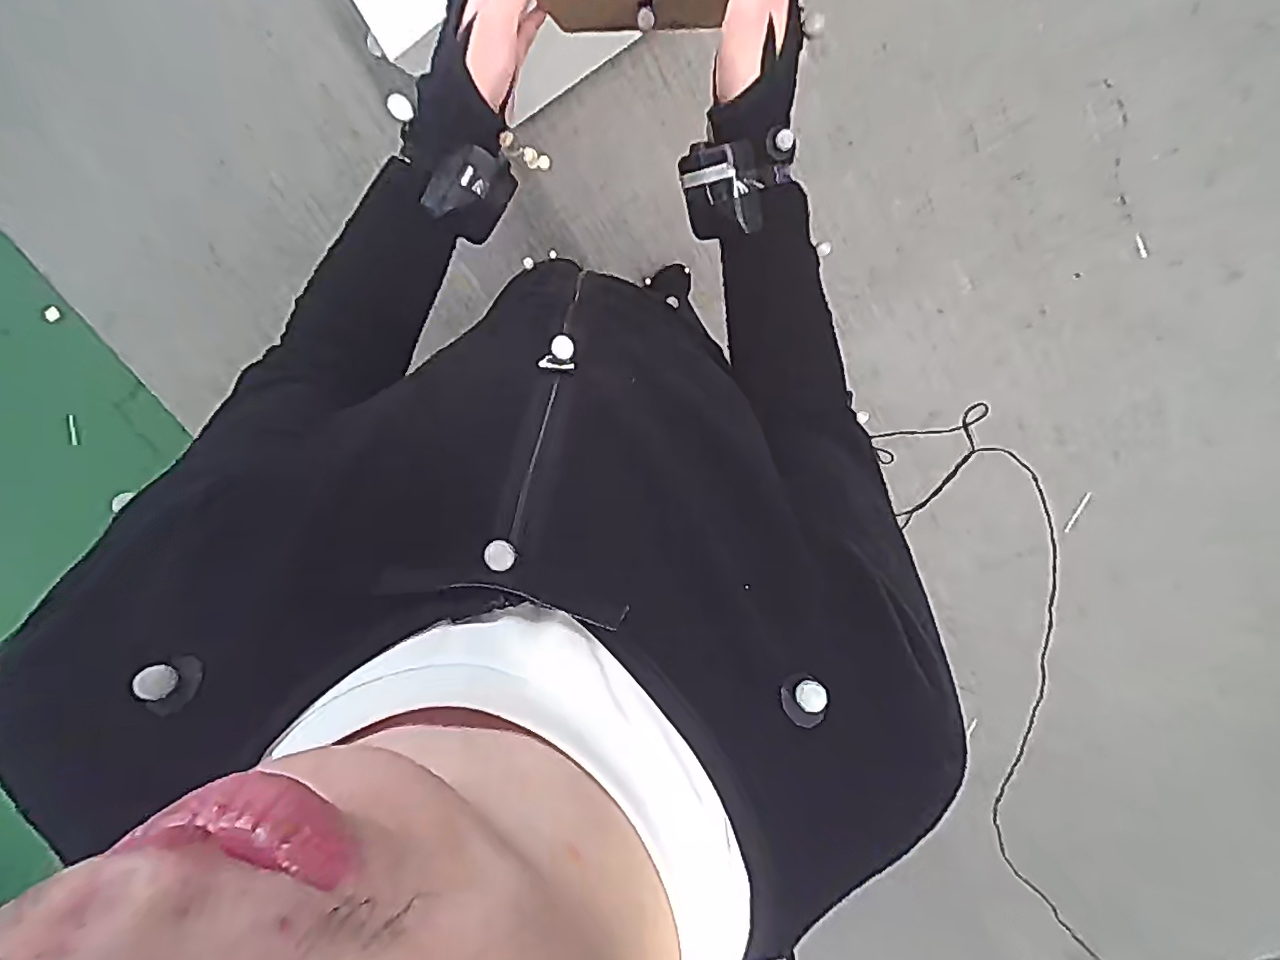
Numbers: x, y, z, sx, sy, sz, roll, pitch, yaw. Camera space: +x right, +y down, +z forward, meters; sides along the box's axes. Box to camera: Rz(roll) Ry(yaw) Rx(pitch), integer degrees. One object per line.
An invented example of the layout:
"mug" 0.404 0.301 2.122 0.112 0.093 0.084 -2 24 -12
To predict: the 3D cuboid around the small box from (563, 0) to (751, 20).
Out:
"small box" 0.008 -0.451 0.375 0.168 0.176 0.179 0 117 7
